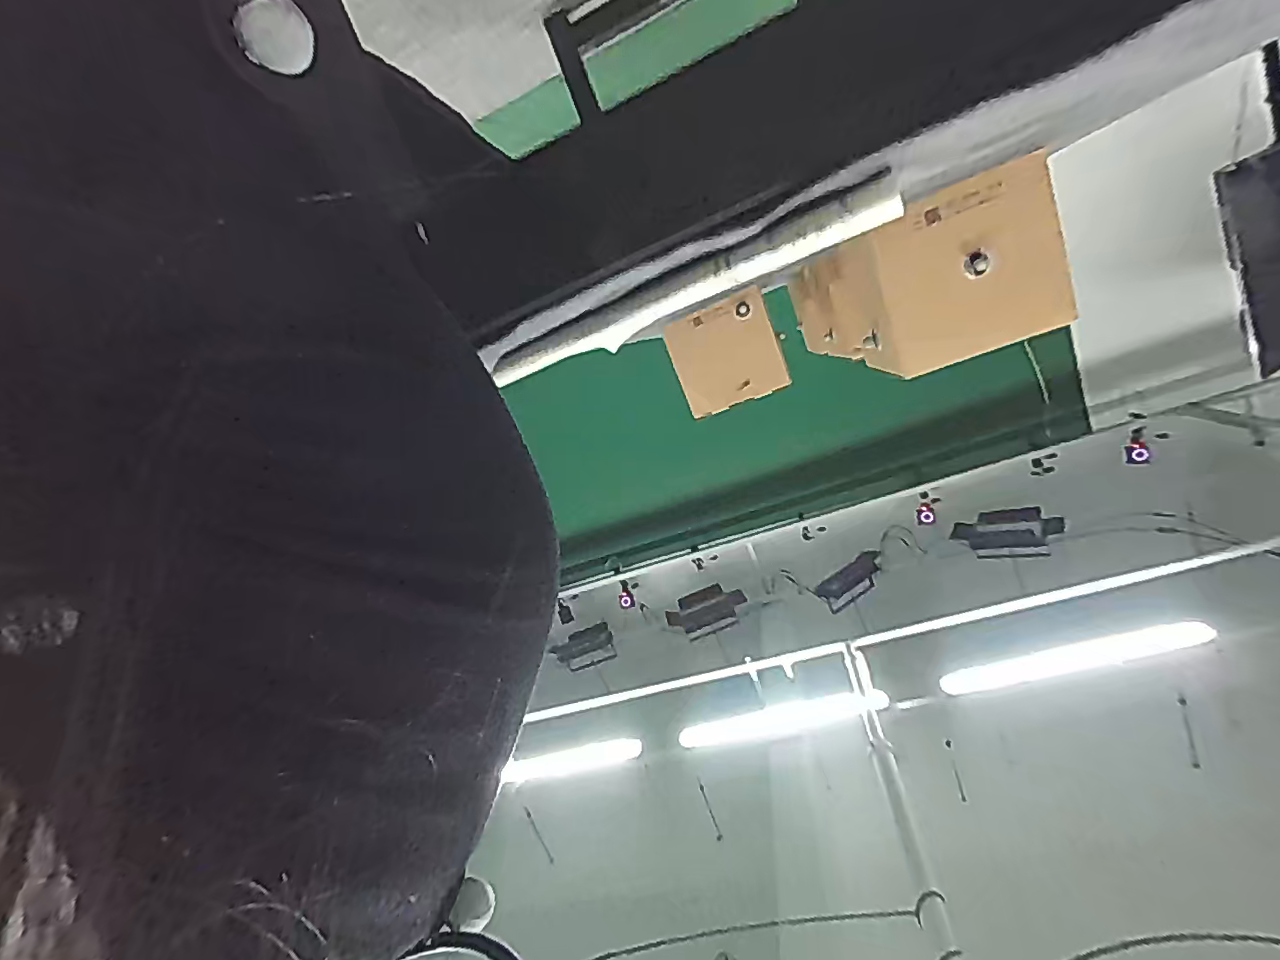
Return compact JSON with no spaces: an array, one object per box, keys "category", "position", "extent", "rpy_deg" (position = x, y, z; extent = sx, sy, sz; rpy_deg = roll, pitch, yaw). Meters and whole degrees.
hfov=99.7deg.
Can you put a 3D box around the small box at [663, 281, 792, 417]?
[{"category":"small box","position":[0.152,-0.230,0.931],"extent":[0.168,0.176,0.179],"rpy_deg":[-19,-167,18]}]
